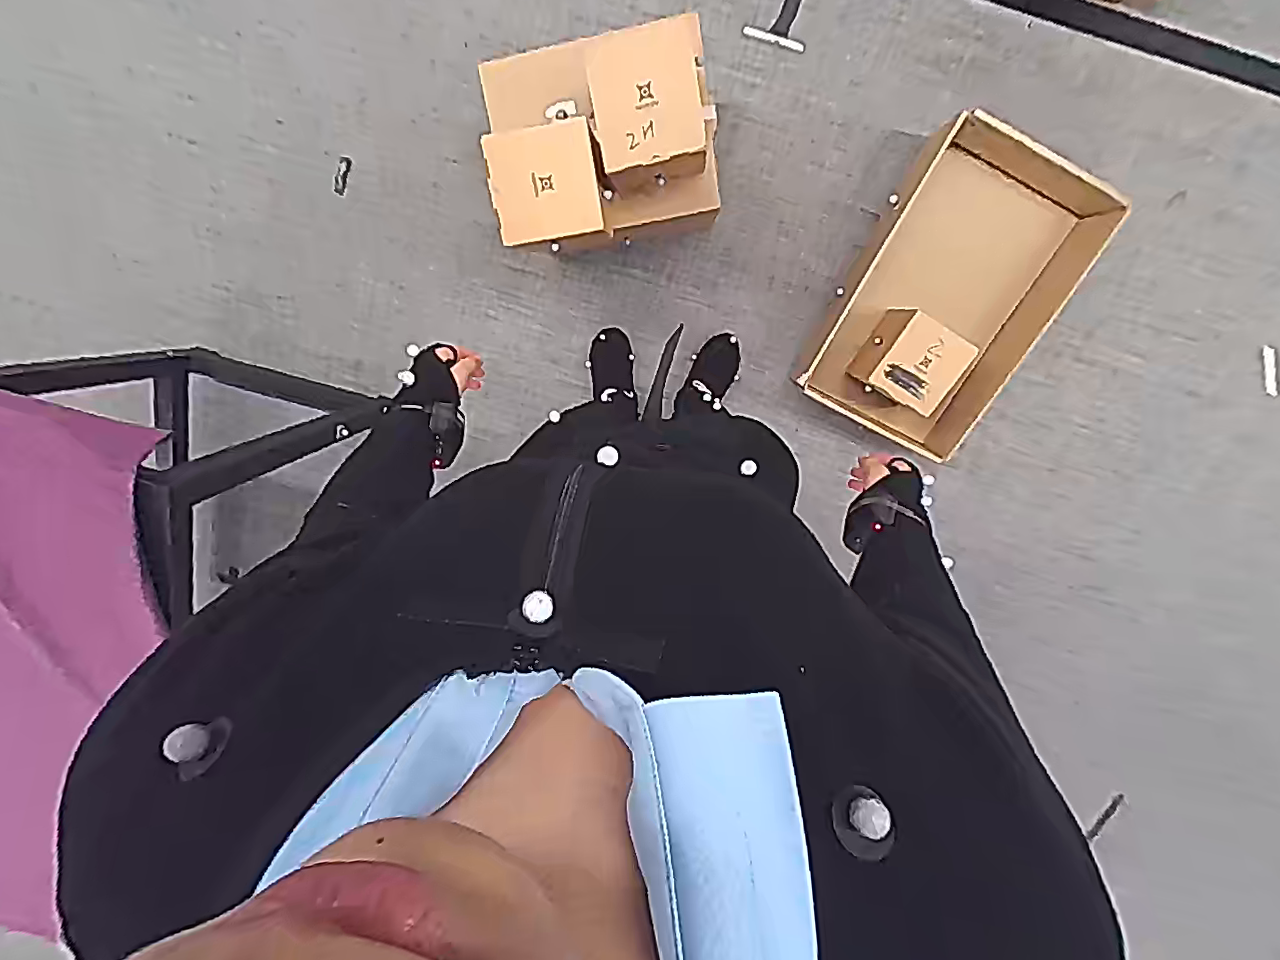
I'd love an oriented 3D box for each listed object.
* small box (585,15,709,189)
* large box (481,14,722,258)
[{"bbox_3d":[0.017,-0.605,0.890,0.168,0.176,0.179,-9,108,8],"label":"small box"},{"bbox_3d":[-0.054,-0.673,1.133,0.408,0.320,0.320,-8,107,8],"label":"large box"}]
